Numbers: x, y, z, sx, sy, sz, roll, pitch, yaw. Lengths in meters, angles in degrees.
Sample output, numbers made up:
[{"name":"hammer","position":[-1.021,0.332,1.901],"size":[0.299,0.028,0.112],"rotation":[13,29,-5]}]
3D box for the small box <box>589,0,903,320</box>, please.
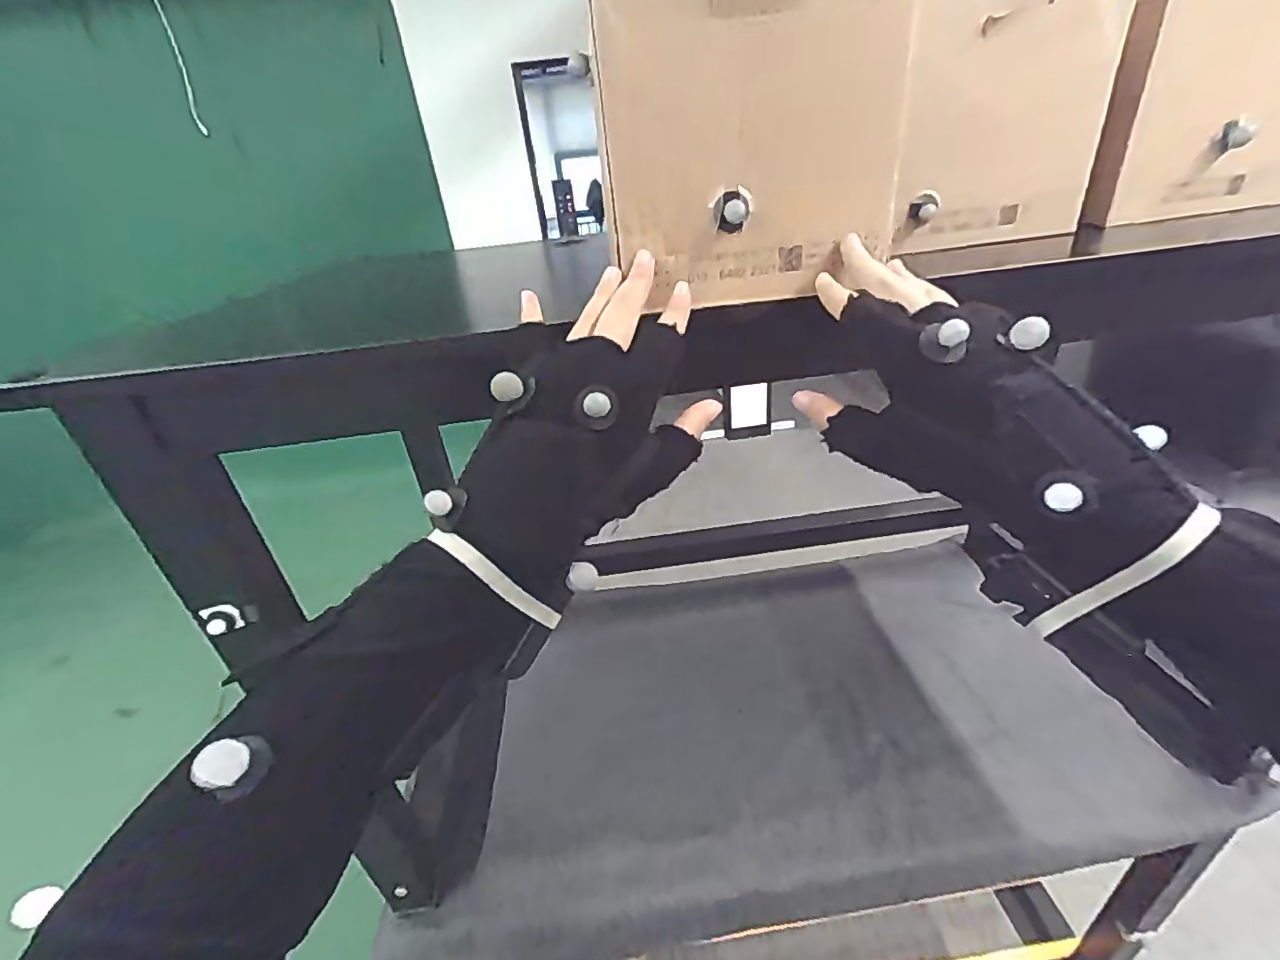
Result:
[{"name":"small box","position":[0.057,-0.219,0.385],"size":[0.168,0.176,0.179],"rotation":[-7,29,-1]}]
